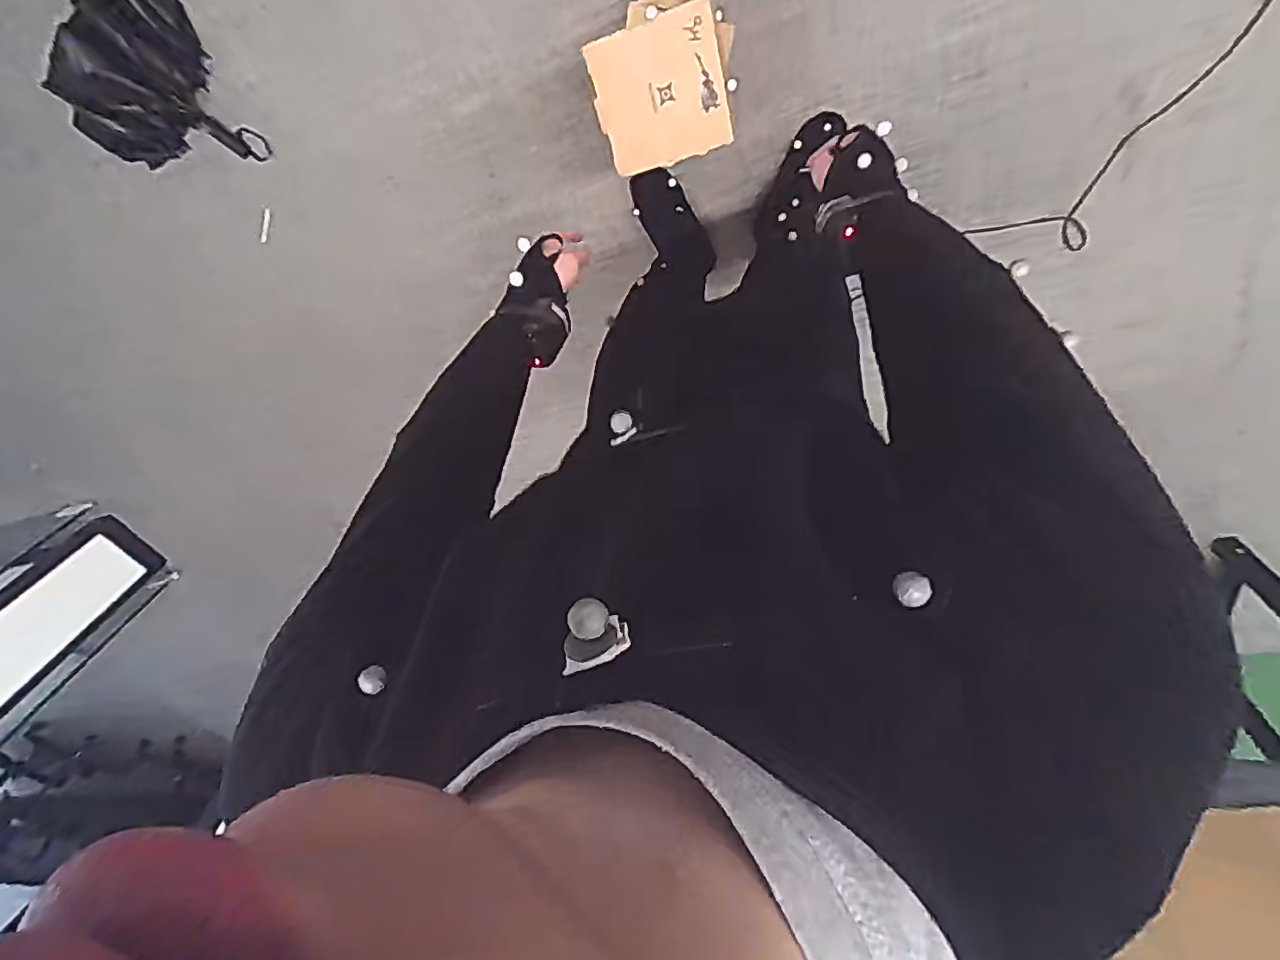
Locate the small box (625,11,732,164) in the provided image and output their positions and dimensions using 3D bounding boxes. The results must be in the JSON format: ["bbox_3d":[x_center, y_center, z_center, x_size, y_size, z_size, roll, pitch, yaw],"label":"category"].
[{"bbox_3d":[0.054,-0.674,0.930,0.168,0.176,0.179,13,131,-1],"label":"small box"}]

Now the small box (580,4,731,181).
[{"bbox_3d":[0.034,-0.571,0.805,0.179,0.176,0.168,-8,127,17],"label":"small box"}]

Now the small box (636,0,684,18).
[{"bbox_3d":[0.062,-0.797,1.042,0.179,0.176,0.168,22,129,-10],"label":"small box"}]
